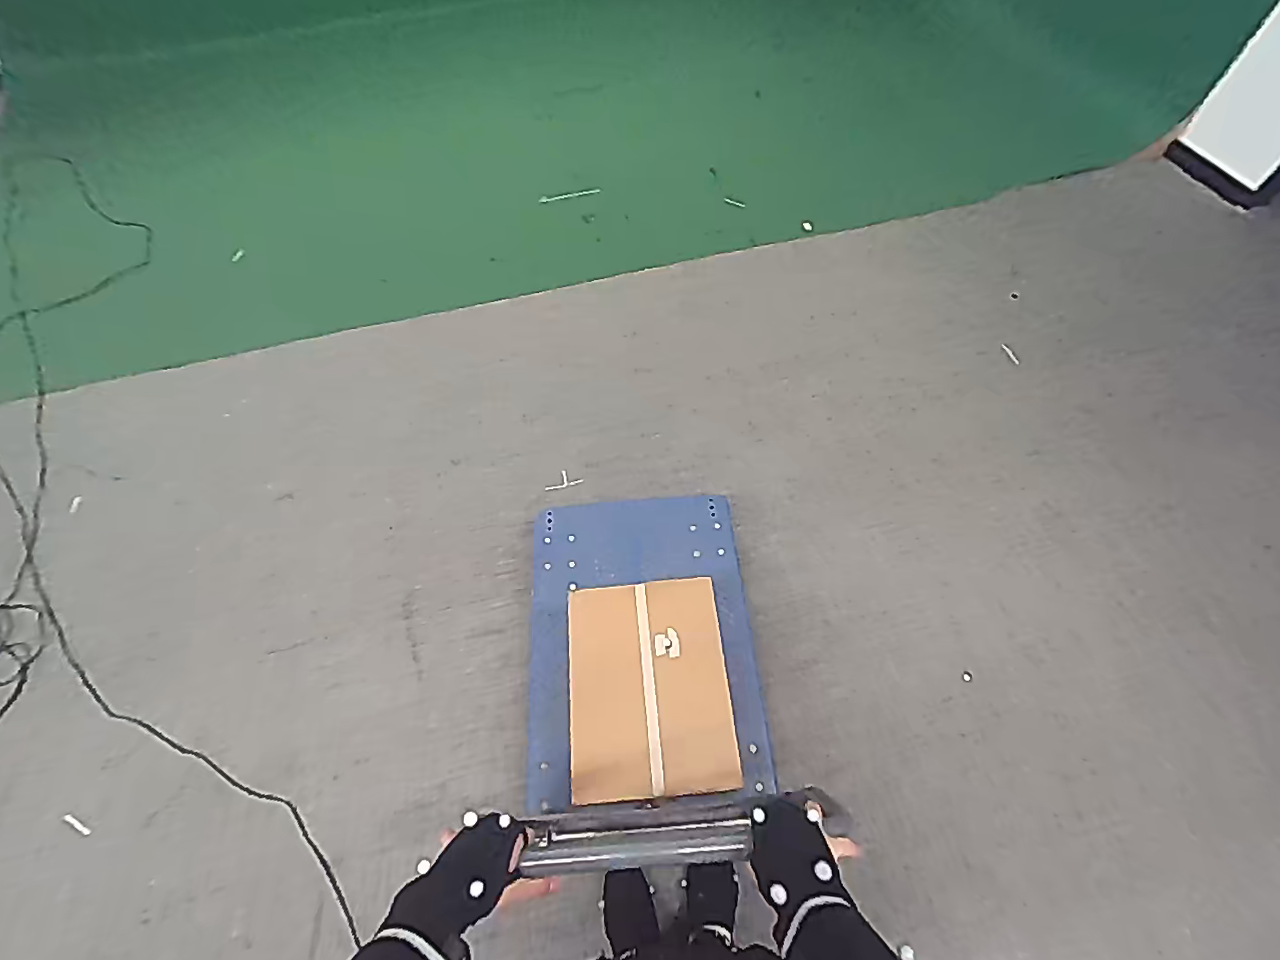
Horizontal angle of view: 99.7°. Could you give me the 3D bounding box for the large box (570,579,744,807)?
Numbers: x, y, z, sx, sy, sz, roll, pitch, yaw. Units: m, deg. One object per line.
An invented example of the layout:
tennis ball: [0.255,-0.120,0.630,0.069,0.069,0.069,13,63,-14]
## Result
large box: [0.026,0.475,1.197,0.320,0.320,0.408,-5,59,-1]
